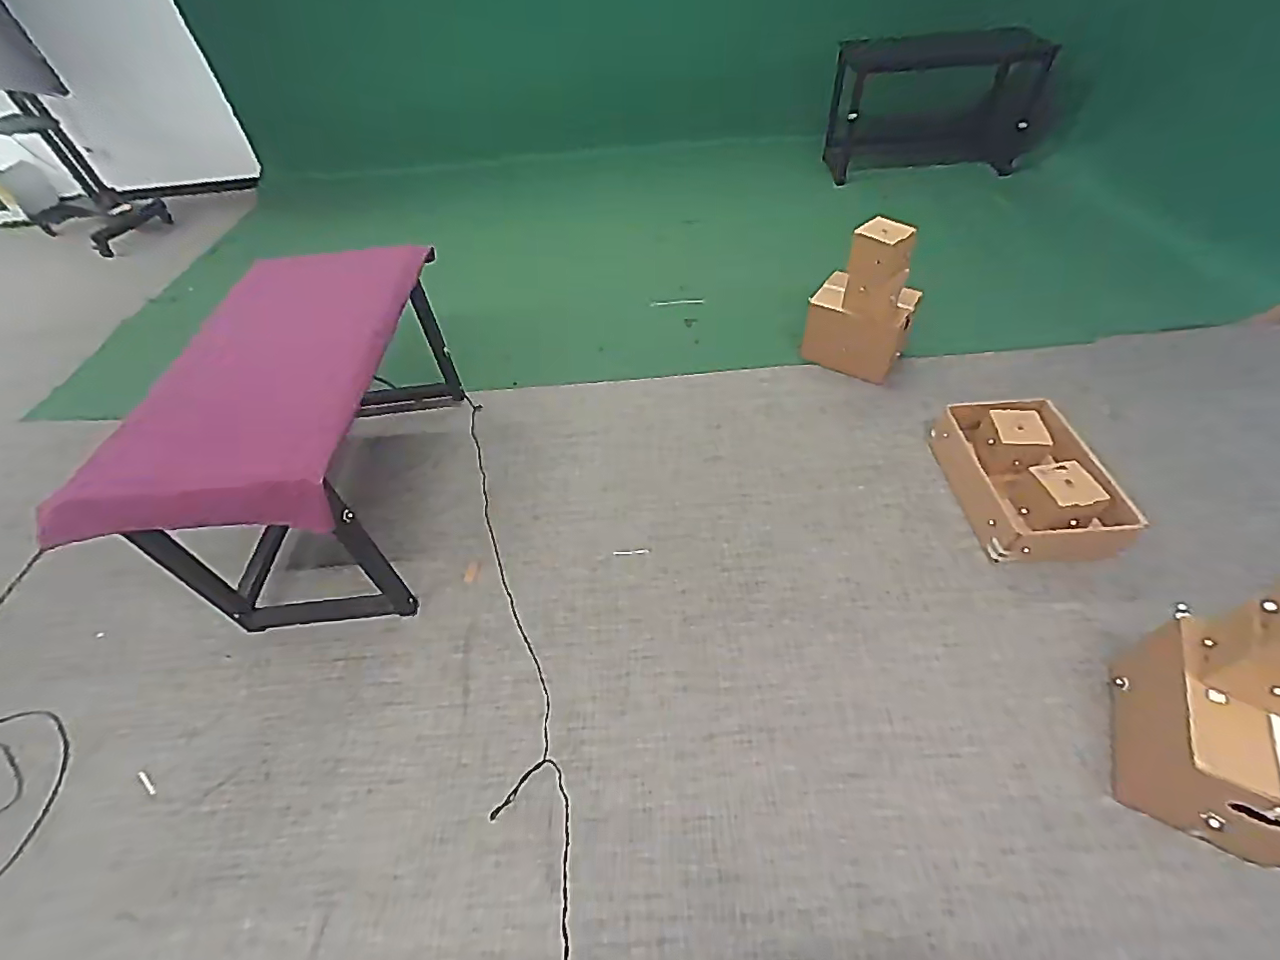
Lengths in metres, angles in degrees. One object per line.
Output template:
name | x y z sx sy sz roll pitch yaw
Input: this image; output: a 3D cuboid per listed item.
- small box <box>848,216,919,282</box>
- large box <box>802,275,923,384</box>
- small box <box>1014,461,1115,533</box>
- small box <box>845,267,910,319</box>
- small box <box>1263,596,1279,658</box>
small box | 0.959 -0.910 2.144 0.168 0.176 0.179 -34 54 -21
large box | 1.014 -0.698 2.494 0.408 0.320 0.320 25 55 26
small box | 1.401 0.063 1.798 0.168 0.176 0.179 -8 48 0
small box | 0.987 -0.799 2.261 0.168 0.176 0.179 -38 55 -22
small box | 1.378 0.284 1.036 0.179 0.176 0.168 28 57 29
